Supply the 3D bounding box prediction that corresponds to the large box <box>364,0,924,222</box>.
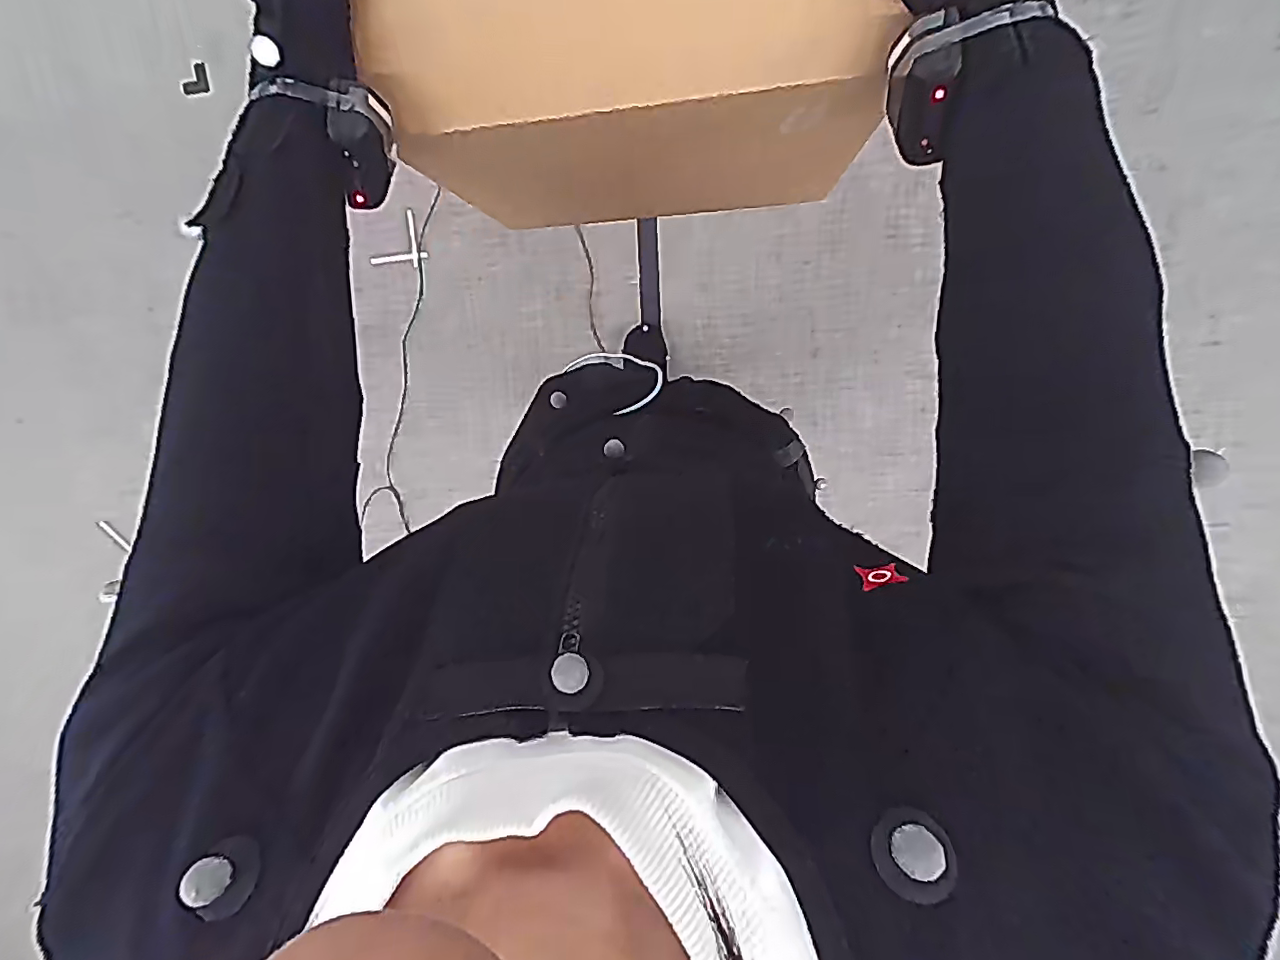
[{"bbox_3d":[0.000,-0.464,0.509,0.408,0.320,0.320,-3,103,7],"label":"large box"}]
